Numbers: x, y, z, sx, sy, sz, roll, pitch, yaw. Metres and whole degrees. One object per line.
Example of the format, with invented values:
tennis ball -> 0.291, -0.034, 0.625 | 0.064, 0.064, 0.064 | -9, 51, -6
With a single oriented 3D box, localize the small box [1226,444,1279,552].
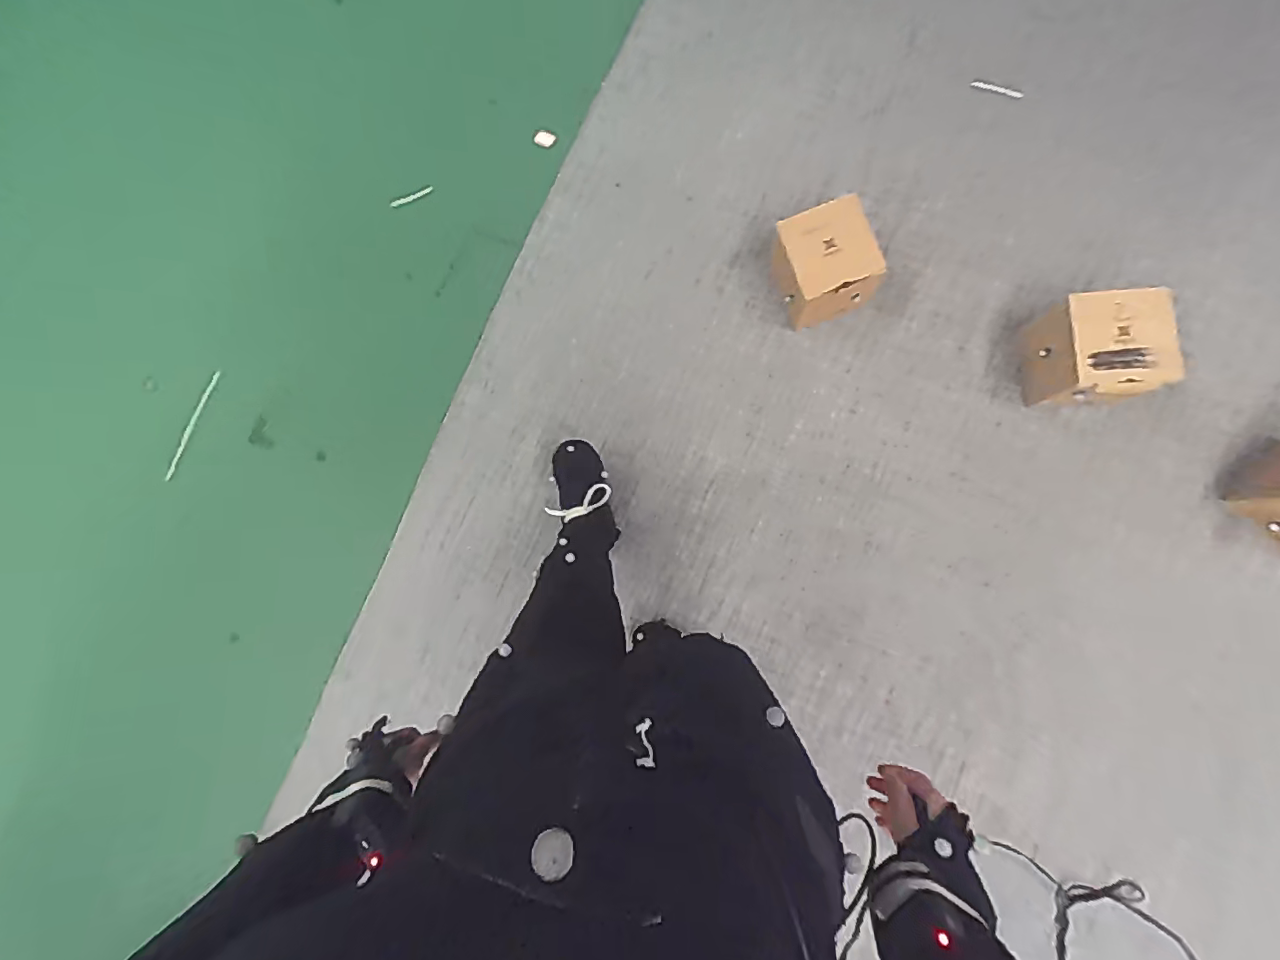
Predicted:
small box -> 1.230, 0.029, 0.956 | 0.168, 0.176, 0.179 | 43, 92, 10

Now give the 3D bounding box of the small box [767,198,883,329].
small box -> 0.376, -0.438, 1.132 | 0.168, 0.176, 0.179 | -20, 80, 5
